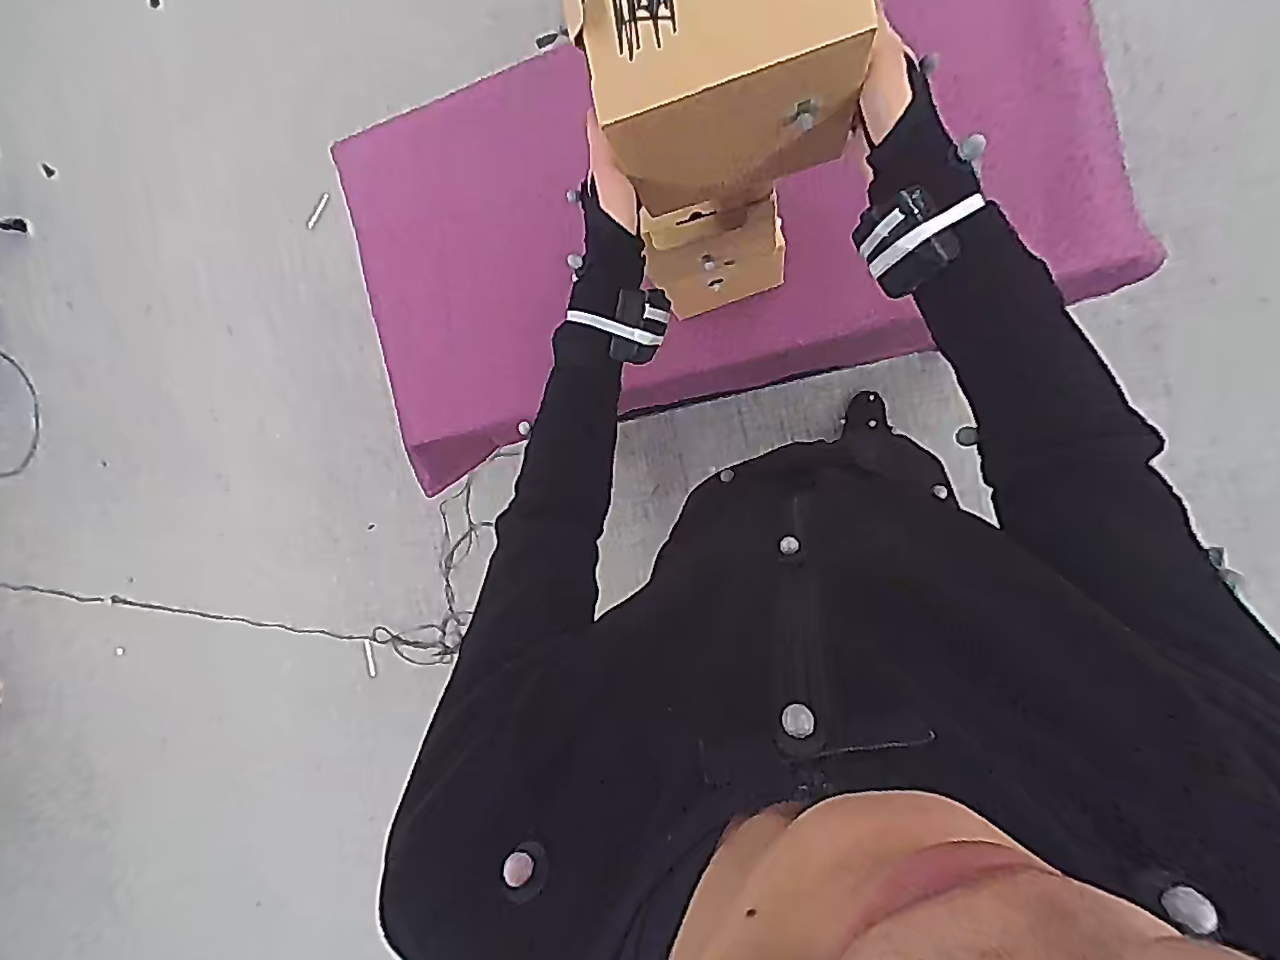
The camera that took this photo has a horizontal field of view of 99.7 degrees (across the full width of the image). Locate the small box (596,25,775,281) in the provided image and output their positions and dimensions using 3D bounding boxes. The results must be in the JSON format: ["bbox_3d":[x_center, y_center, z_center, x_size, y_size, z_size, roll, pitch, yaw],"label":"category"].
[{"bbox_3d":[0.062,-0.361,0.636,0.168,0.176,0.179,-10,90,15],"label":"small box"}]

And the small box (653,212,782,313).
[{"bbox_3d":[0.103,-0.366,0.796,0.179,0.176,0.168,-16,89,14],"label":"small box"}]
